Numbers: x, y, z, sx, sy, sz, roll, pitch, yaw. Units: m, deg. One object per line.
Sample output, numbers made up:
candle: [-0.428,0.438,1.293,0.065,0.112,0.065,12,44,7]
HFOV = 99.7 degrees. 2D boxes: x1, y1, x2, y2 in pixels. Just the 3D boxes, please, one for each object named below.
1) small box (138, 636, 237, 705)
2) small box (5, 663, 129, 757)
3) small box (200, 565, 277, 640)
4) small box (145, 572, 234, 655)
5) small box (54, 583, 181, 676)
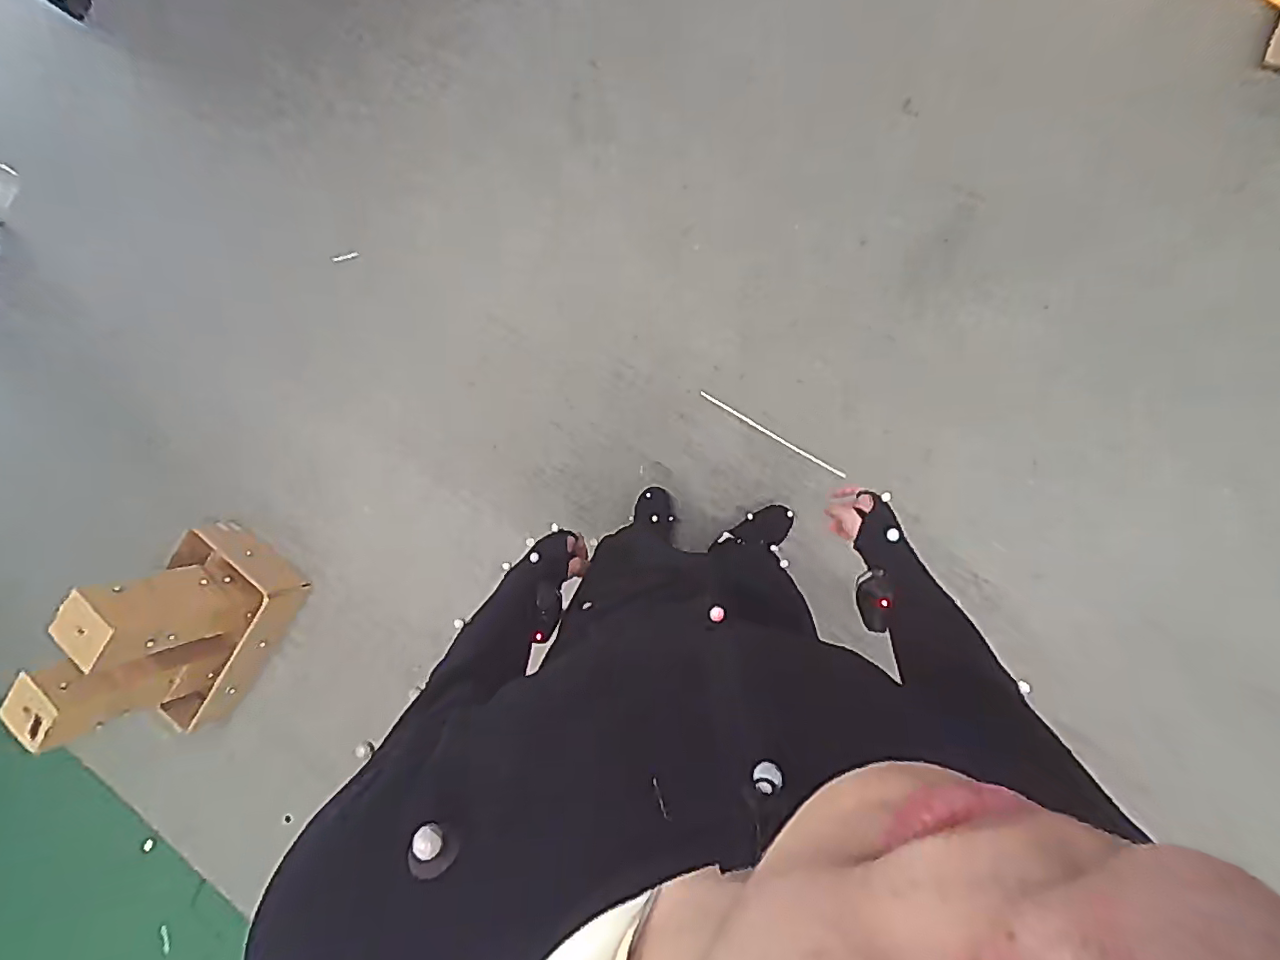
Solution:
small box: [-1.569,0.636,1.882,0.179,0.176,0.168,37,98,11]
small box: [-1.648,0.646,1.564,0.179,0.176,0.168,37,98,12]
small box: [-1.396,0.407,1.841,0.179,0.176,0.168,38,98,9]
small box: [-1.426,0.405,1.680,0.179,0.176,0.168,39,99,10]
small box: [-1.462,0.408,1.520,0.179,0.176,0.168,40,99,9]
